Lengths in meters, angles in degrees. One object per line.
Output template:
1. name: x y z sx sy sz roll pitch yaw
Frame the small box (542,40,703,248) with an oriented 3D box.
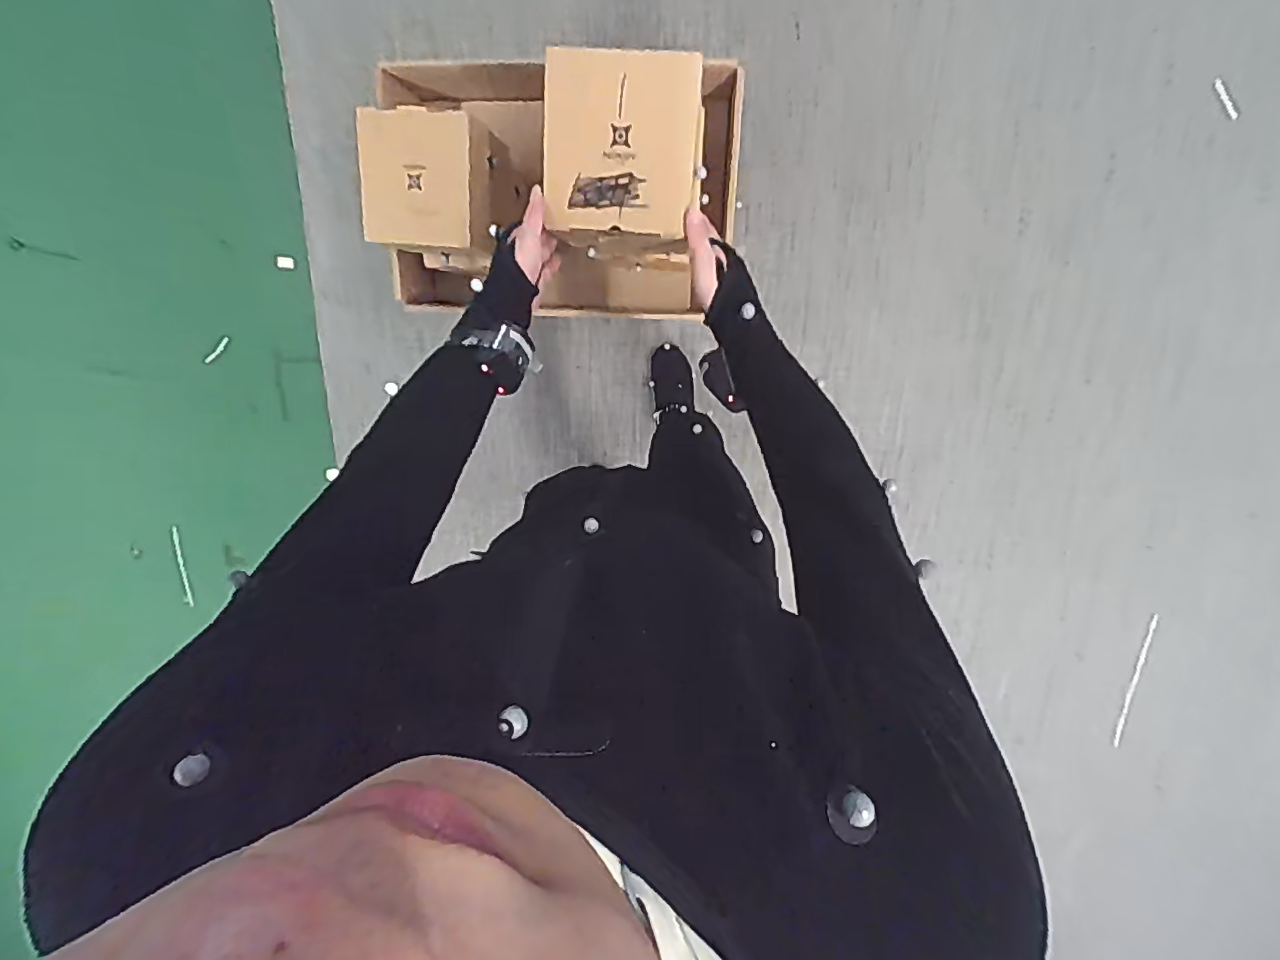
1. small box: -0.016 -0.386 0.653 0.168 0.176 0.179 5 106 3

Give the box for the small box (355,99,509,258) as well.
1. small box: -0.310 -0.453 0.836 0.168 0.176 0.179 6 107 5
